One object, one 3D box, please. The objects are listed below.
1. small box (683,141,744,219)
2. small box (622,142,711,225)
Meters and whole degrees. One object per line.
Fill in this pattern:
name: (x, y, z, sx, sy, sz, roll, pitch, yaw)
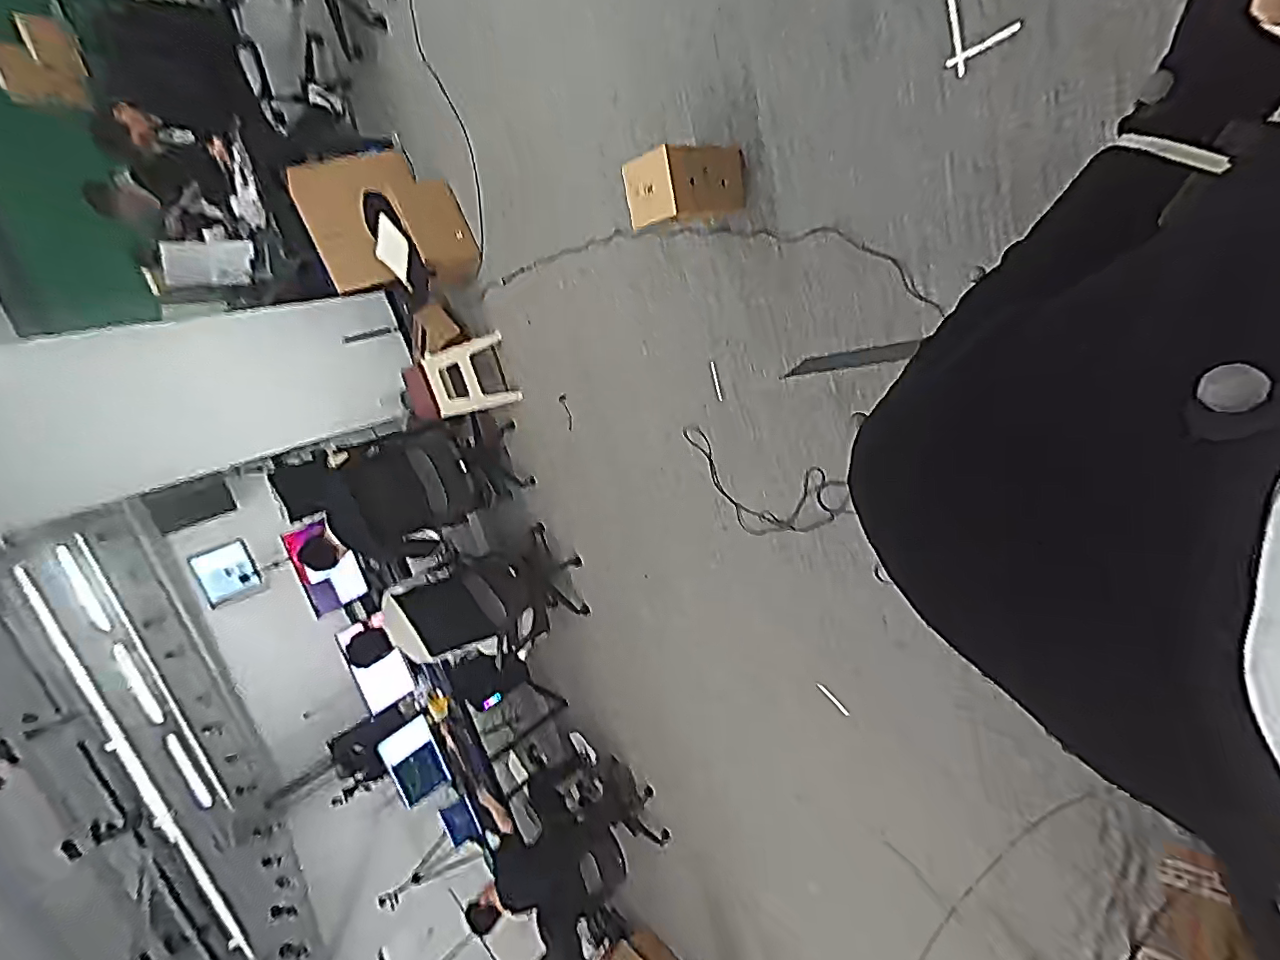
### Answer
small box: (0.190, -0.883, 1.604, 0.168, 0.176, 0.179, 12, 121, 46)
small box: (0.081, -0.819, 1.499, 0.179, 0.176, 0.168, 8, 116, 48)
